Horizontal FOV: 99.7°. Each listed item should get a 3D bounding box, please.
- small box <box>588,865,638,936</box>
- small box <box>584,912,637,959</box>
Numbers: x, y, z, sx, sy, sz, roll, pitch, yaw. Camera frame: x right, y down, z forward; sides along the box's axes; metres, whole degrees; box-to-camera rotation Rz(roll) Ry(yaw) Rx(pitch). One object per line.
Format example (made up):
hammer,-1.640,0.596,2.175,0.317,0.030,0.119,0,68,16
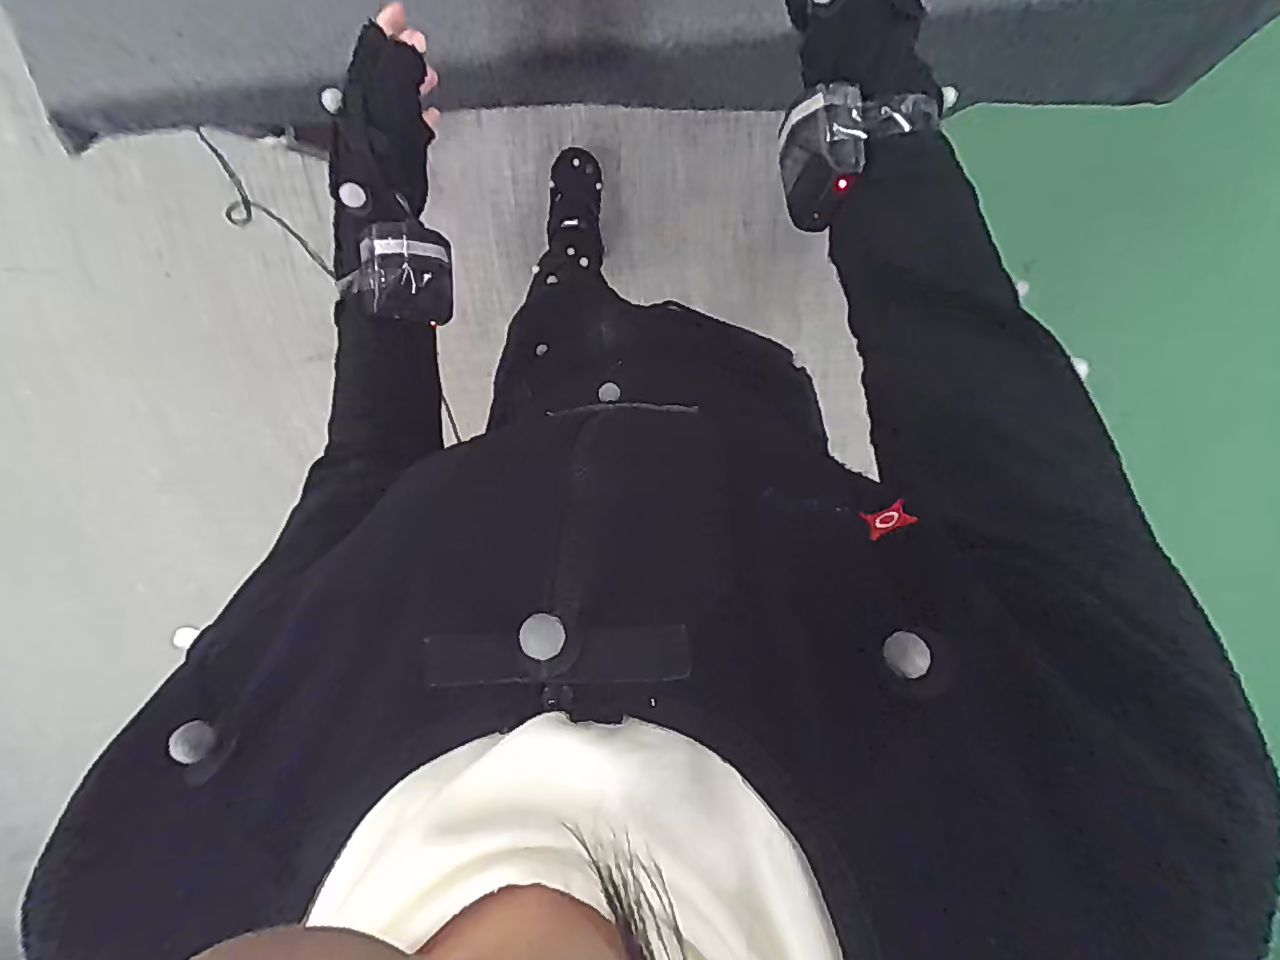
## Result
small box,-0.099,1.625,2.086,0.179,0.176,0.168,-5,114,1
small box,-0.101,1.684,1.933,0.179,0.176,0.168,0,113,2
